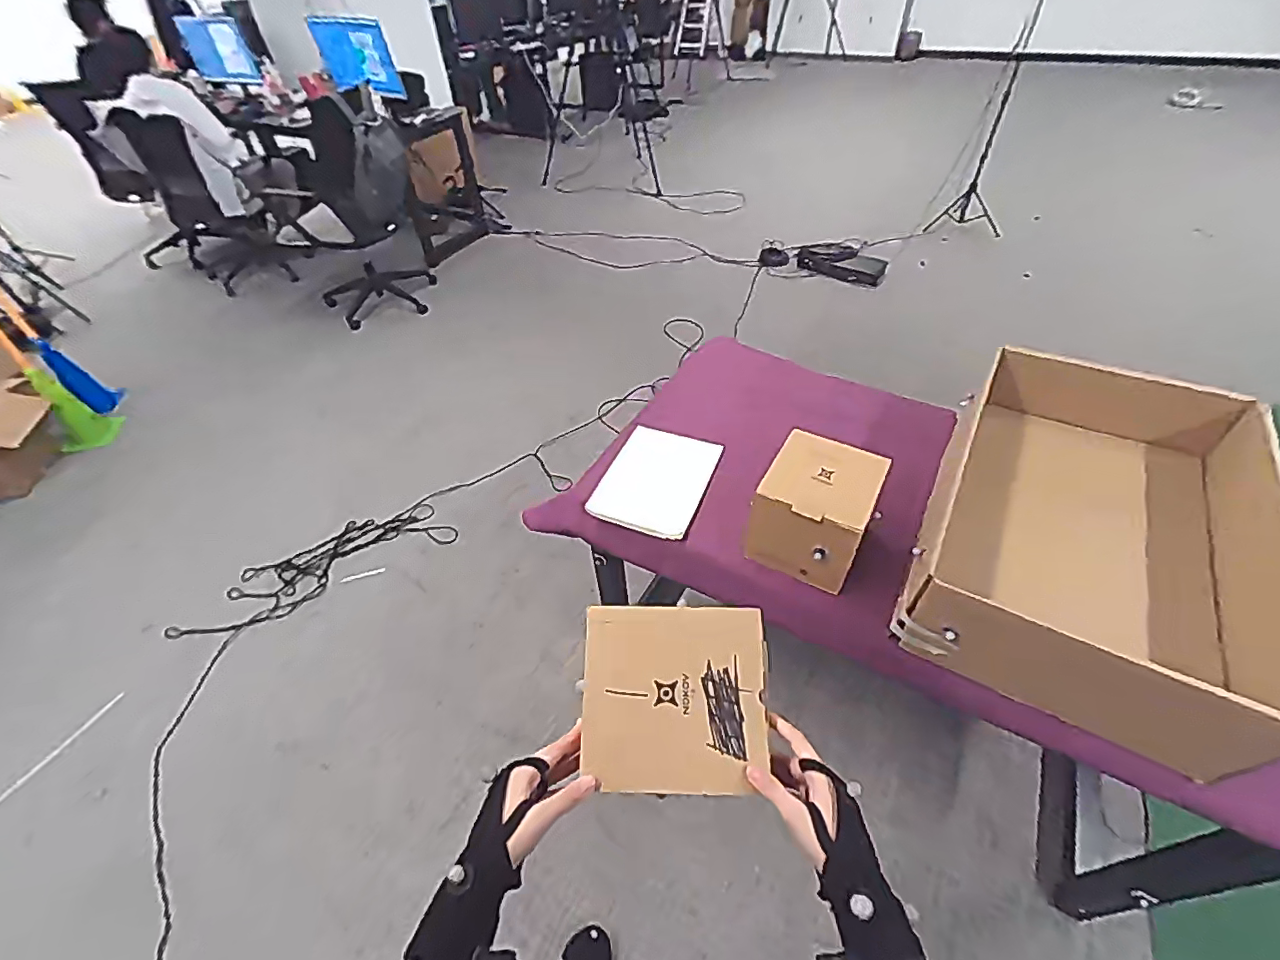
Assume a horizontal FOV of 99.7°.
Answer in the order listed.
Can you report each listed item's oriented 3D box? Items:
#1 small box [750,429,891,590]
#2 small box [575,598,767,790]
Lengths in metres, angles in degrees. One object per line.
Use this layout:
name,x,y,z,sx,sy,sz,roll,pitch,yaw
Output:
small box,0.293,0.050,0.901,0.168,0.176,0.179,23,50,23
small box,0.030,0.227,0.587,0.179,0.176,0.168,2,68,0
